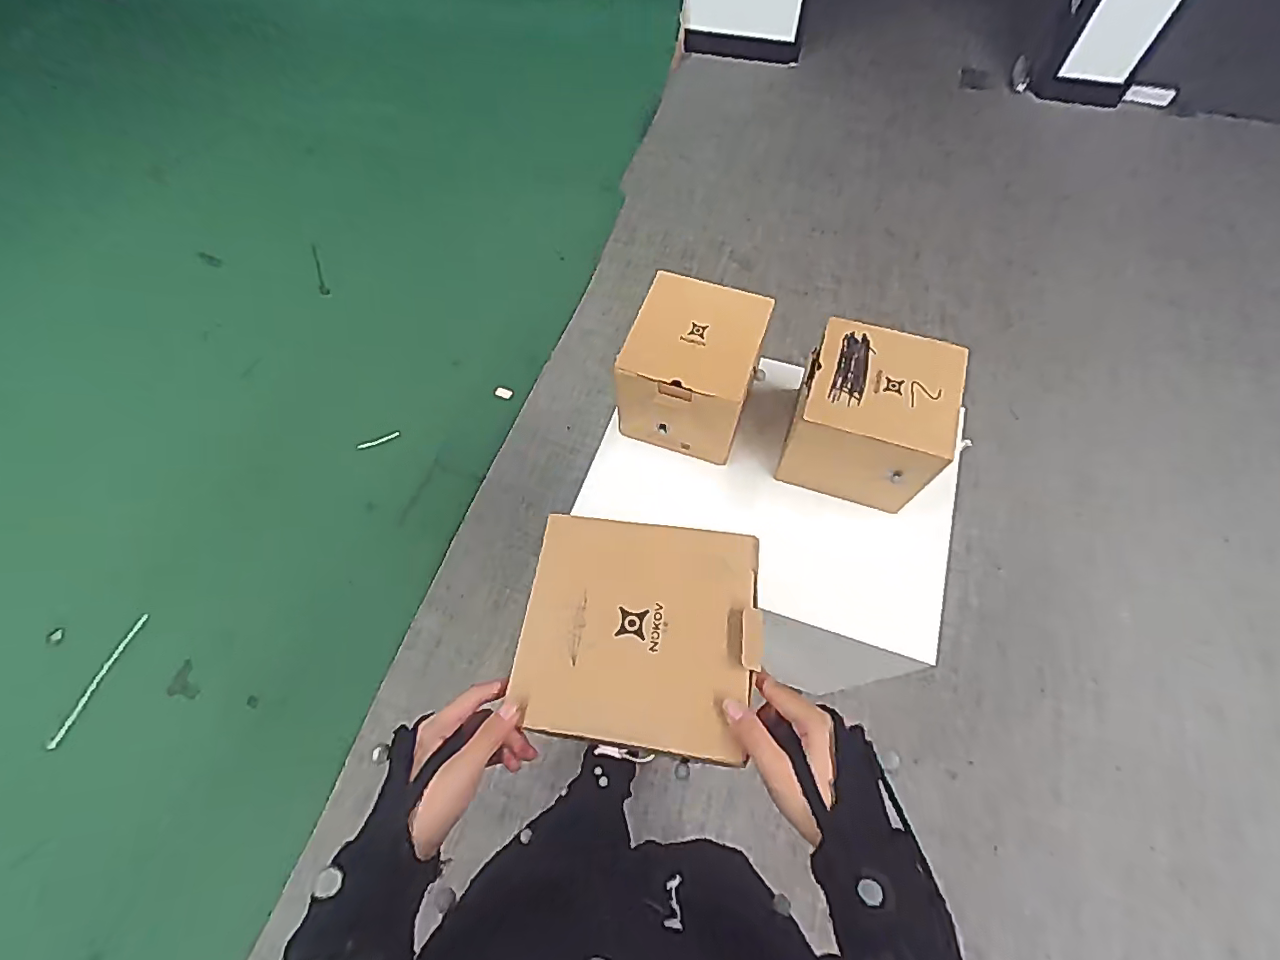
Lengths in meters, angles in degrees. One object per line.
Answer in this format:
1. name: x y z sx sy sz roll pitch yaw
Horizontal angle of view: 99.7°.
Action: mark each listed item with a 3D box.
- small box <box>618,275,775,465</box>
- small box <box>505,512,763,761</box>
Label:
1. small box: 0.075 -0.149 0.766 0.168 0.176 0.179 18 67 9
2. small box: 0.007 0.144 0.475 0.179 0.176 0.168 5 61 8
